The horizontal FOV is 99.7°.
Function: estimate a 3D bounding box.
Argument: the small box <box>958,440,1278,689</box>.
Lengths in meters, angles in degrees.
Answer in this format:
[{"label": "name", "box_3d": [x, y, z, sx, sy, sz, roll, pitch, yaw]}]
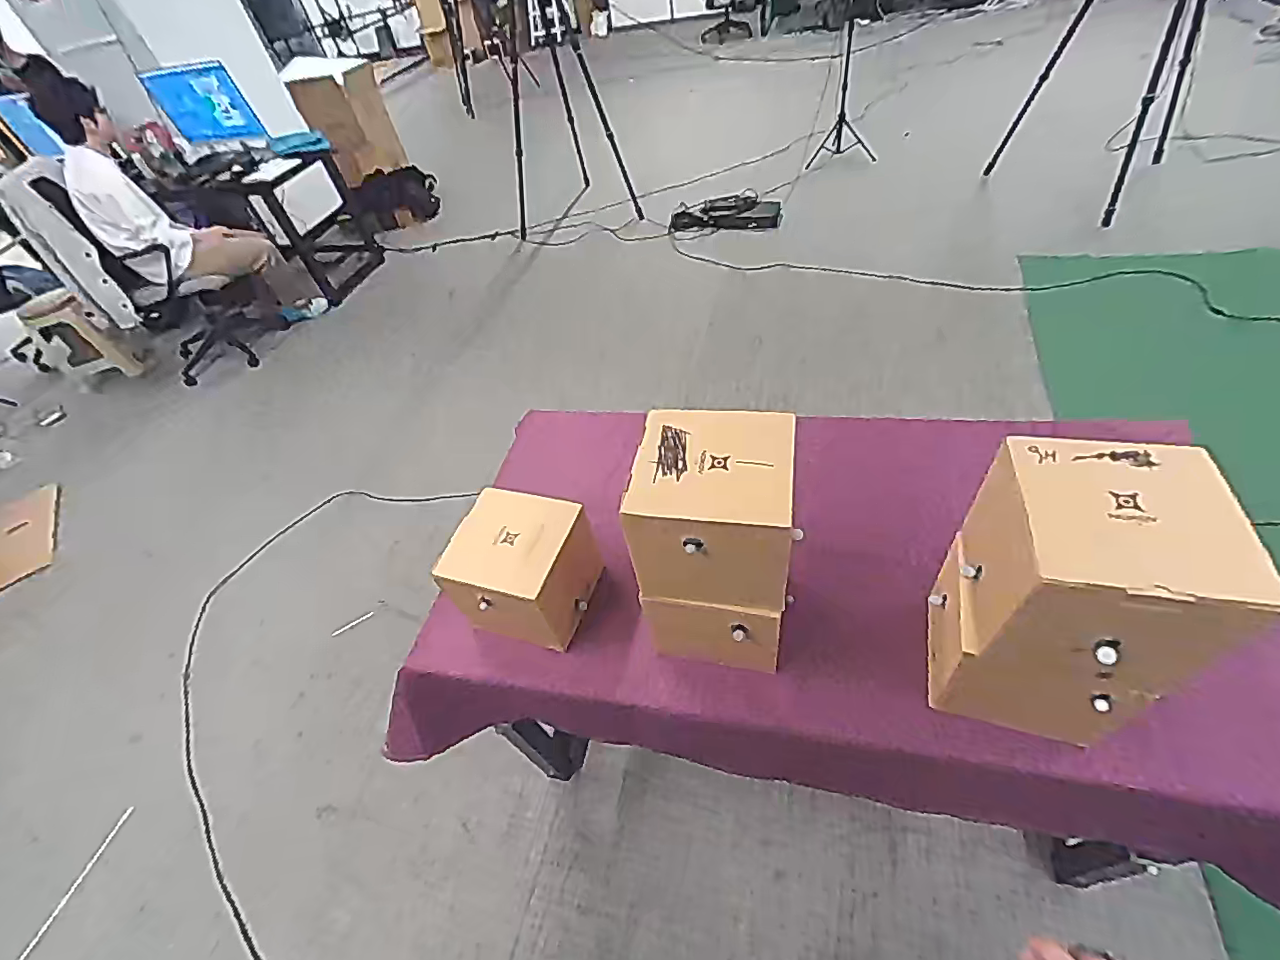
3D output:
[{"label": "small box", "box_3d": [0.434, 0.084, 0.535, 0.168, 0.176, 0.179, 6, 51, 16]}]

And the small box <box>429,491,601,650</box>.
[{"label": "small box", "box_3d": [-0.181, 0.142, 0.838, 0.179, 0.176, 0.168, 9, 52, 19]}]

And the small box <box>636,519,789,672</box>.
[{"label": "small box", "box_3d": [0.110, 0.152, 0.765, 0.179, 0.176, 0.168, 6, 49, 16]}]

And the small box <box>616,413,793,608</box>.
[{"label": "small box", "box_3d": [0.086, 0.038, 0.649, 0.179, 0.176, 0.168, 4, 50, 14]}]

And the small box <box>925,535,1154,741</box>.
[{"label": "small box", "box_3d": [0.457, 0.193, 0.656, 0.179, 0.176, 0.168, 9, 51, 19]}]
